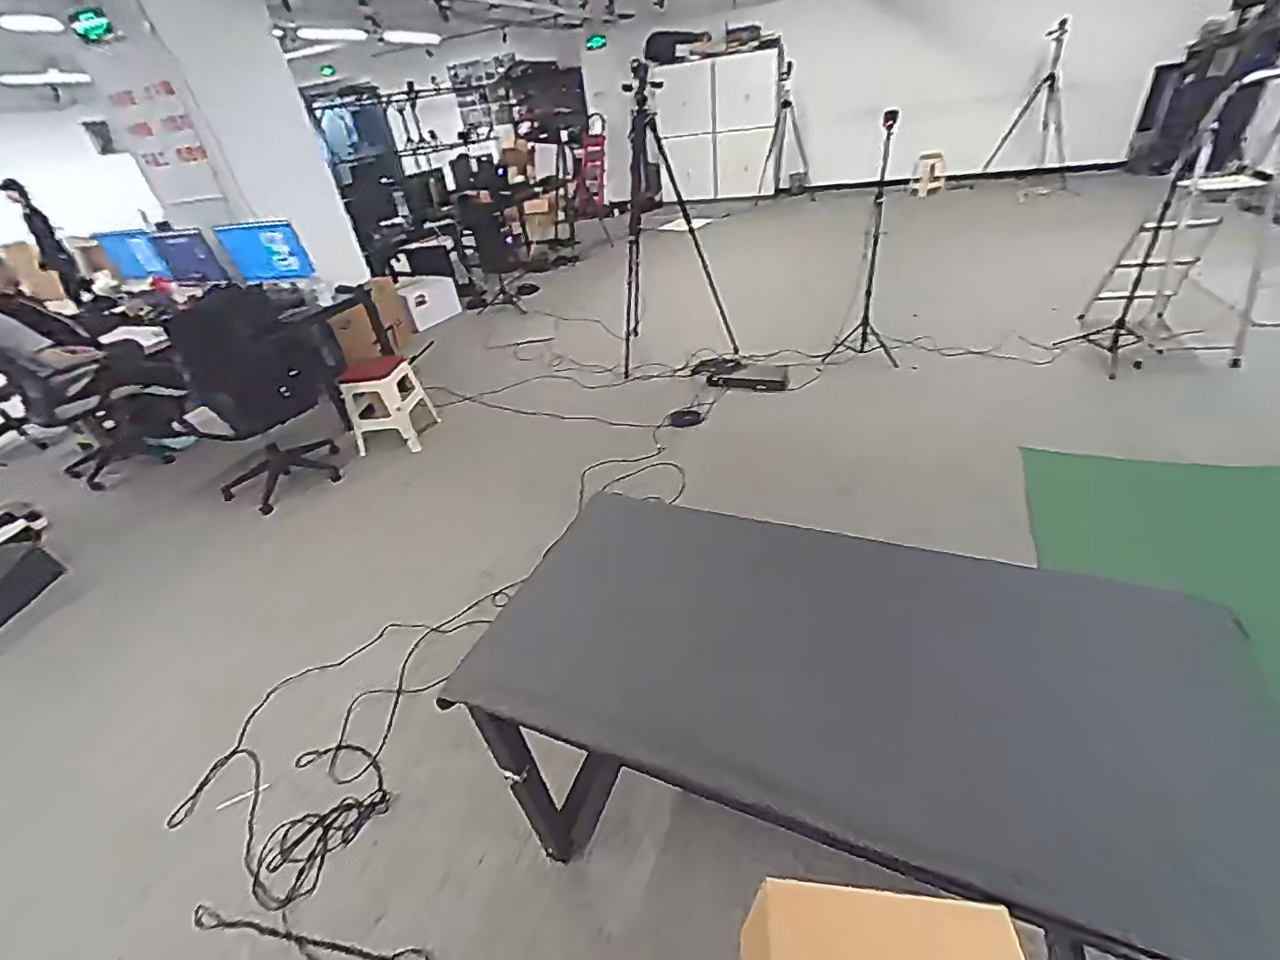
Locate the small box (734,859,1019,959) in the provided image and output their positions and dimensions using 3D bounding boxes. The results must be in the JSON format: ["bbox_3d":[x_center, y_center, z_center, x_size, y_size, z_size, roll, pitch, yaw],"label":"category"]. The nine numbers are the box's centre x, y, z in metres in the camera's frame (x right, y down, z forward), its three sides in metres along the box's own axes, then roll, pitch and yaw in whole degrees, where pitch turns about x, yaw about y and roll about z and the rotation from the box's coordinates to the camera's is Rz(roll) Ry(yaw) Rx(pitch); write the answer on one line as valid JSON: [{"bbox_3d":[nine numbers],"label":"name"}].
[{"bbox_3d":[0.155,0.394,0.365,0.168,0.176,0.179,3,40,5],"label":"small box"}]
